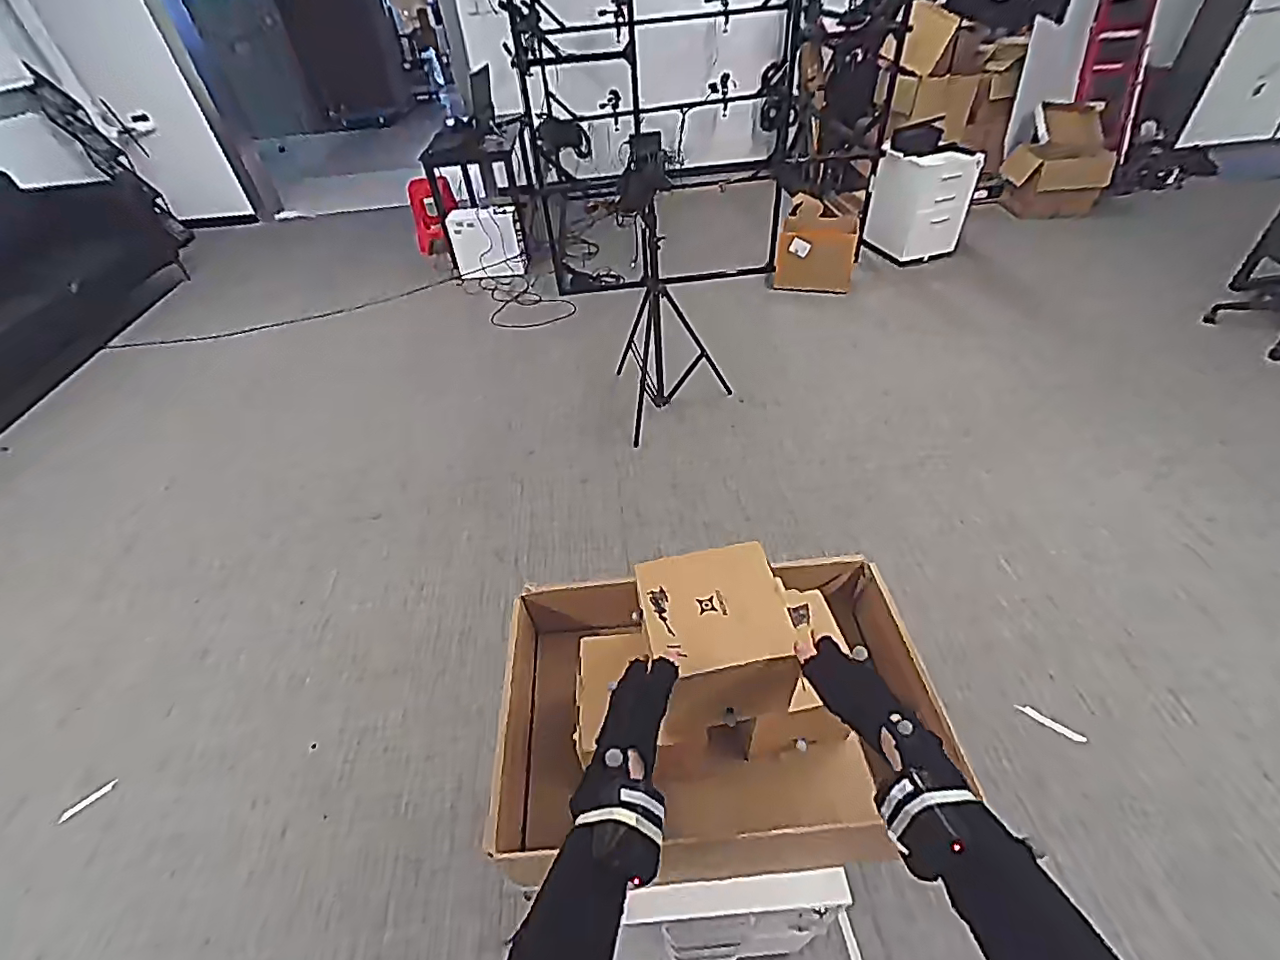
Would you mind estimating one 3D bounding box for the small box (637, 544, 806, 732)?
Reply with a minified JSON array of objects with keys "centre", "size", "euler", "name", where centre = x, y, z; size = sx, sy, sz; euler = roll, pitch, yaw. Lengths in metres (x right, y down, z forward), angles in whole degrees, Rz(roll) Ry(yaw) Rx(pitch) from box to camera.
[{"centre":[0.096,0.212,0.720],"size":[0.179,0.176,0.168],"euler":[-9,45,-5],"name":"small box"}]
